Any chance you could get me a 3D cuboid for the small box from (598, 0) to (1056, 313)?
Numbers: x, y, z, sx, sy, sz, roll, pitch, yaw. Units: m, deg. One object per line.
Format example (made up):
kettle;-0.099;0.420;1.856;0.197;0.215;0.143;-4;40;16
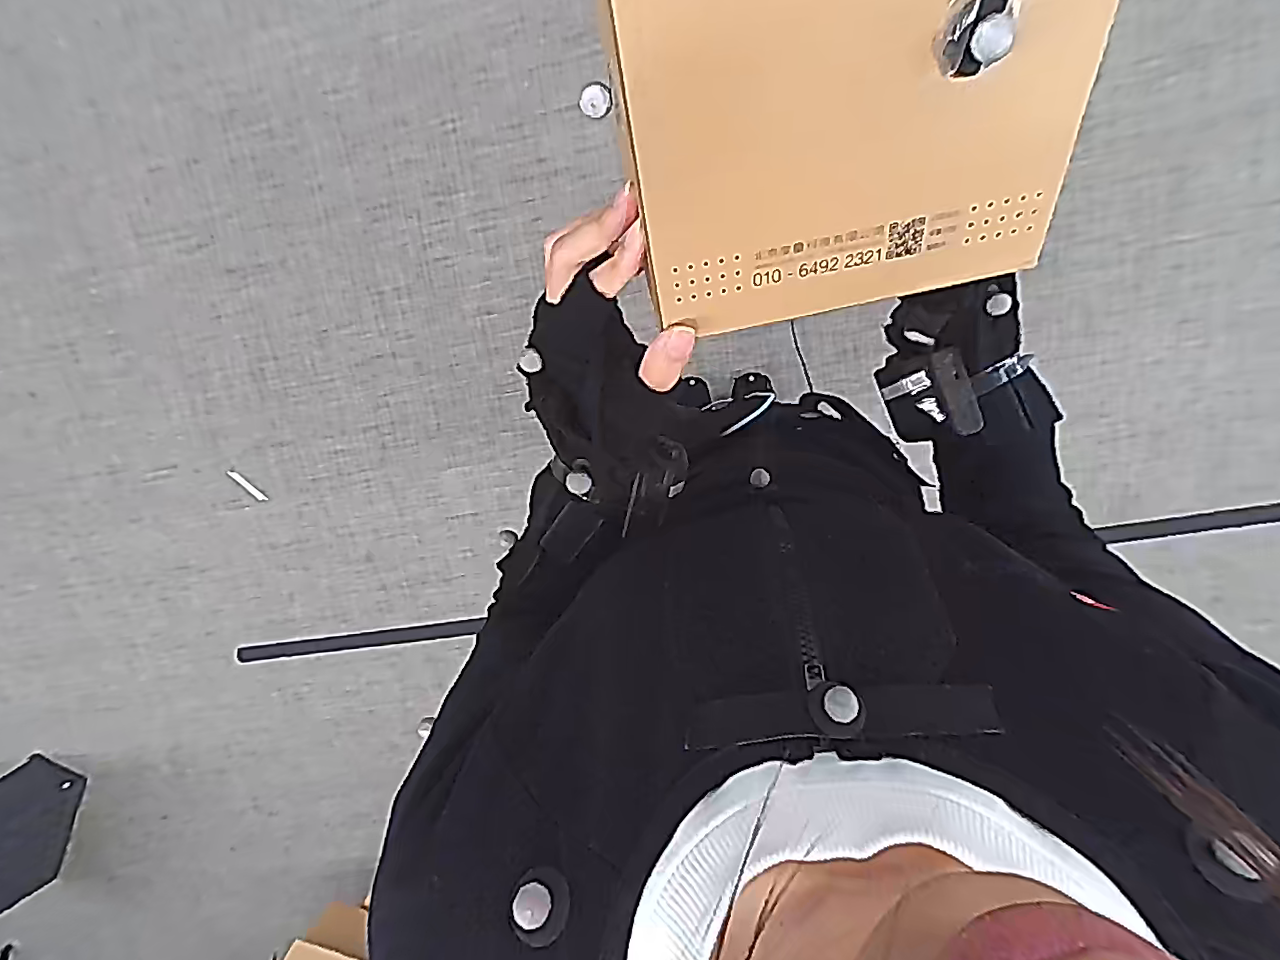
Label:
small box;0.071;-0.196;0.266;0.168;0.179;0.176;-10;132;3
